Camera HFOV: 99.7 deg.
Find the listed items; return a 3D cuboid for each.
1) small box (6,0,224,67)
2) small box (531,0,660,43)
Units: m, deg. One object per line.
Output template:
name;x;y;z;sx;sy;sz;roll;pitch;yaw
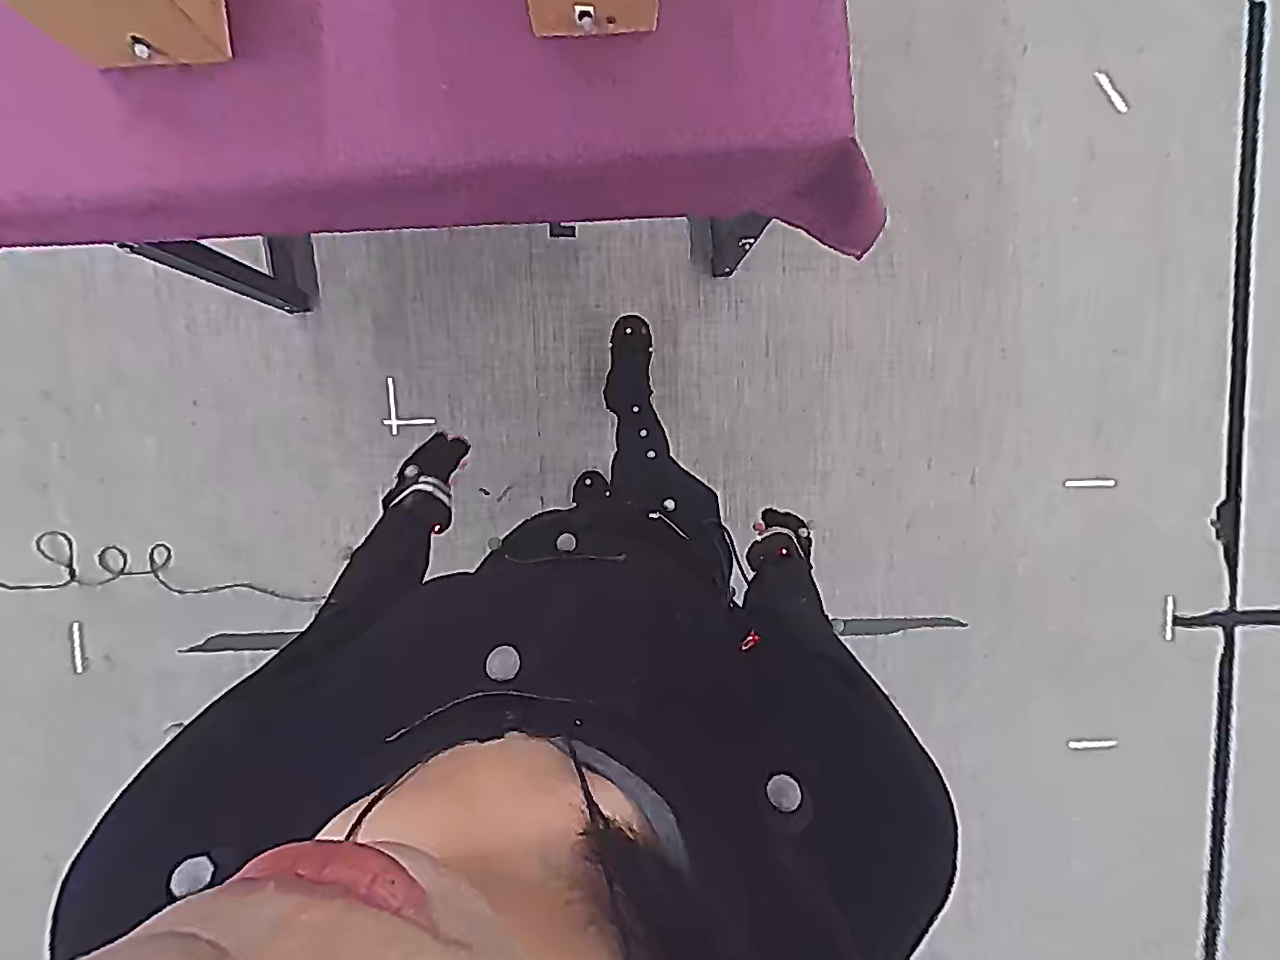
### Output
small box;-0.619;-0.614;0.620;0.179;0.176;0.168;-5;94;-4
small box;-0.061;-0.679;0.649;0.168;0.176;0.179;-6;95;-2
